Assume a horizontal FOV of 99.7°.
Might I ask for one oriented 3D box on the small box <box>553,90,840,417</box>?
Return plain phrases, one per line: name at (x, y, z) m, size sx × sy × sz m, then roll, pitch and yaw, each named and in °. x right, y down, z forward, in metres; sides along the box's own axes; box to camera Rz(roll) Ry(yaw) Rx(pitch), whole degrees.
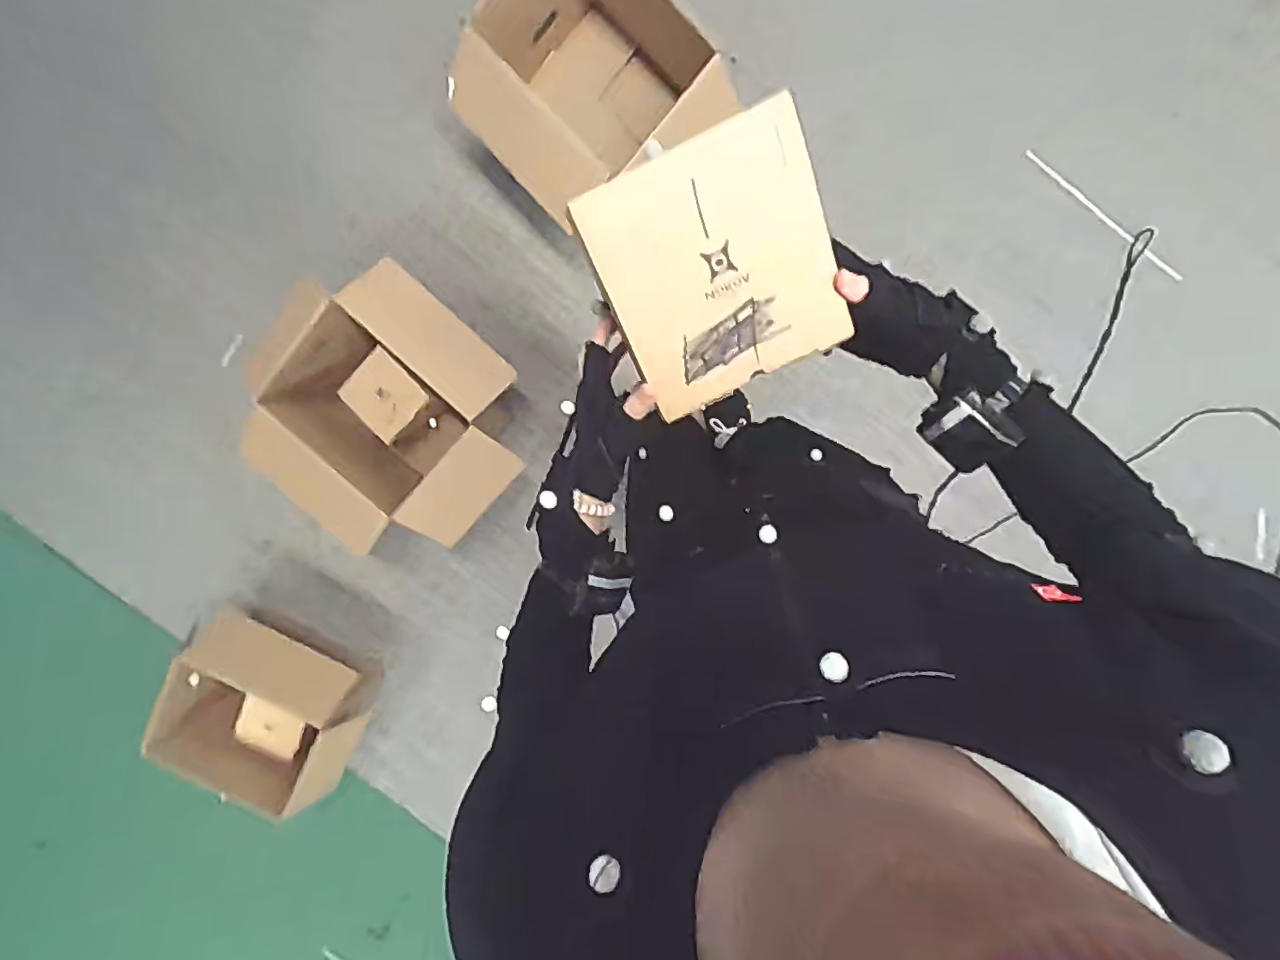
small box at (0.040, -0.185, 0.464) m, size 0.168 × 0.176 × 0.179 m, roll -26°, pitch 114°, yaw 3°
